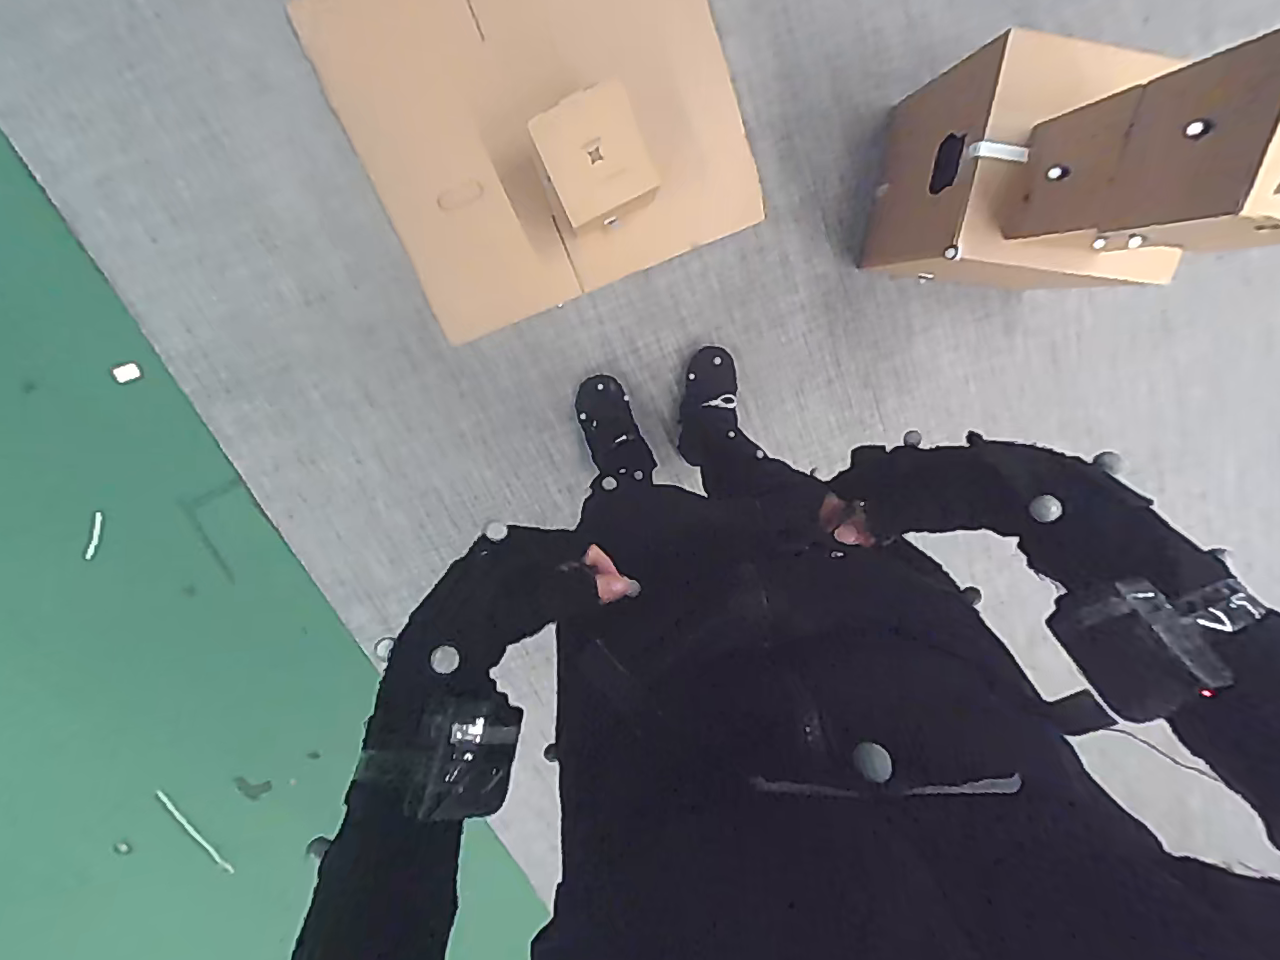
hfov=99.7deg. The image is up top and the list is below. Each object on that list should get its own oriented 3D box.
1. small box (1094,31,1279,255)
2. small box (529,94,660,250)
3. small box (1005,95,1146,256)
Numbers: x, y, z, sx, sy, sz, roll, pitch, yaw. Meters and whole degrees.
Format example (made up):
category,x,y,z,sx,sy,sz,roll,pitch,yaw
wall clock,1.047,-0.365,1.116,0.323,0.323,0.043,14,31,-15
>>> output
category,x,y,z,sx,sy,sz,roll,pitch,yaw
small box,0.684,-0.367,0.623,0.168,0.176,0.179,5,105,-7
small box,-0.078,-0.540,0.977,0.168,0.176,0.179,-25,108,6
small box,0.674,-0.424,0.781,0.179,0.176,0.168,-1,105,-6
